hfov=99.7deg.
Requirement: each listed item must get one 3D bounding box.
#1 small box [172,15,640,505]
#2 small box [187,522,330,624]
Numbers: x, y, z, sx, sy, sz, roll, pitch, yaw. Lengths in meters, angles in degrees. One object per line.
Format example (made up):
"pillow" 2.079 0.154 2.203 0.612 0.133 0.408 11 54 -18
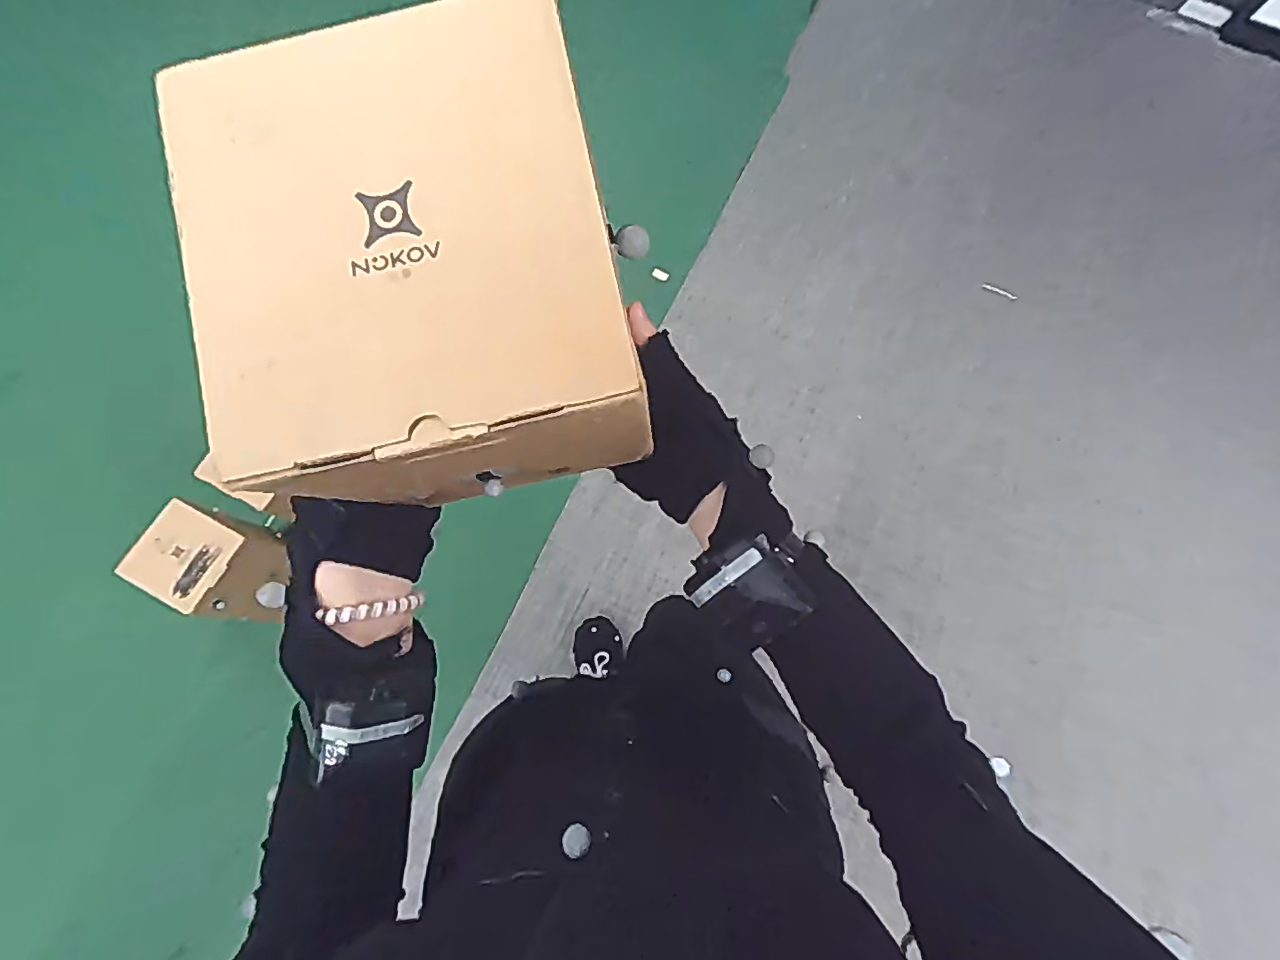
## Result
"small box" -0.098 -0.089 0.301 0.168 0.176 0.179 -13 85 1
"small box" -0.875 0.220 1.262 0.179 0.176 0.168 30 75 5
